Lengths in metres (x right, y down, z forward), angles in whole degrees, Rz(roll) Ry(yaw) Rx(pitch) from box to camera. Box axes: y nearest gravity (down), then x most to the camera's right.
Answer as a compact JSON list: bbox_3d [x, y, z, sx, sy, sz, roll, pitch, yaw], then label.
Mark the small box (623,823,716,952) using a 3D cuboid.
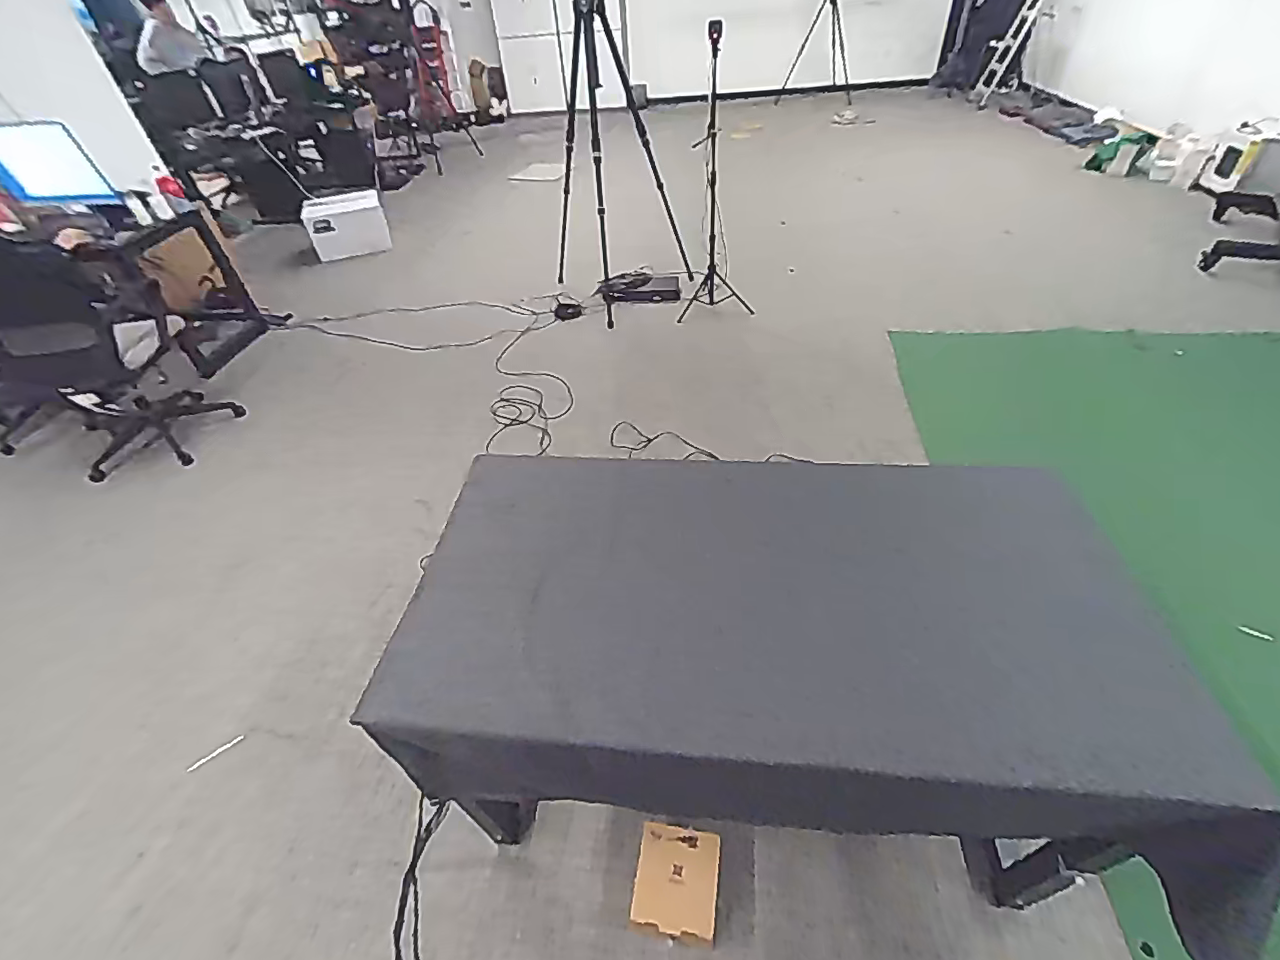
[{"bbox_3d":[0.070,0.859,1.137,0.168,0.176,0.179,4,44,11],"label":"small box"}]
